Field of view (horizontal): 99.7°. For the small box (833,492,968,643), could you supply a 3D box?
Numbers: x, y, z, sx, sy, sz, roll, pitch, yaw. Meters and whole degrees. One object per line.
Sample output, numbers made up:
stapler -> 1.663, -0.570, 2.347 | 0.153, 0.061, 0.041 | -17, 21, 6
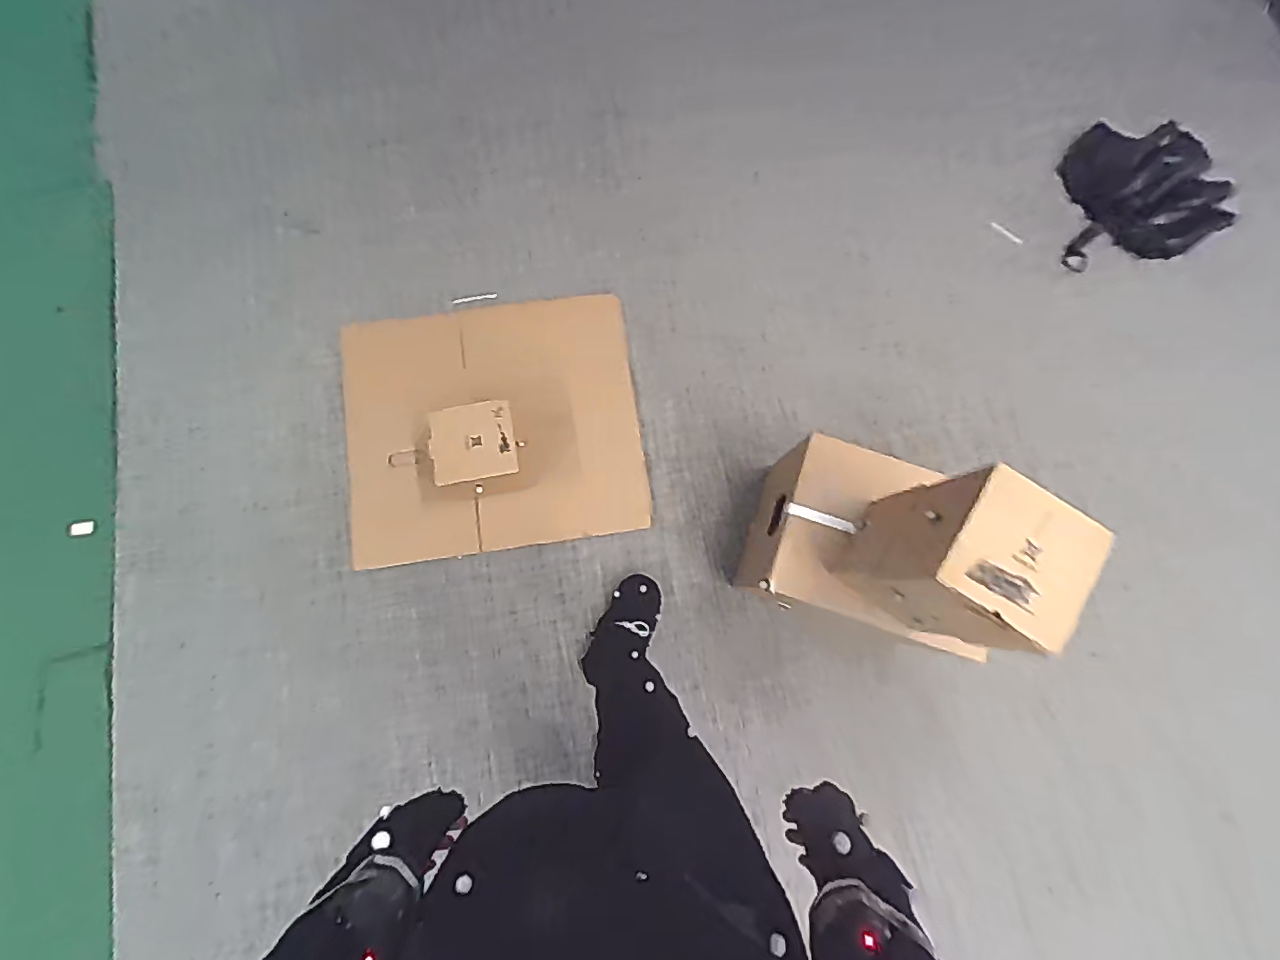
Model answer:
small box -> 0.457, 0.144, 0.893 | 0.179, 0.176, 0.168 | 33, 79, 7

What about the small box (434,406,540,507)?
small box -> -0.339, -0.046, 1.218 | 0.179, 0.176, 0.168 | -13, 77, -2

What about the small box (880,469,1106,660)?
small box -> 0.456, 0.114, 0.731 | 0.168, 0.176, 0.179 | 31, 80, 5
